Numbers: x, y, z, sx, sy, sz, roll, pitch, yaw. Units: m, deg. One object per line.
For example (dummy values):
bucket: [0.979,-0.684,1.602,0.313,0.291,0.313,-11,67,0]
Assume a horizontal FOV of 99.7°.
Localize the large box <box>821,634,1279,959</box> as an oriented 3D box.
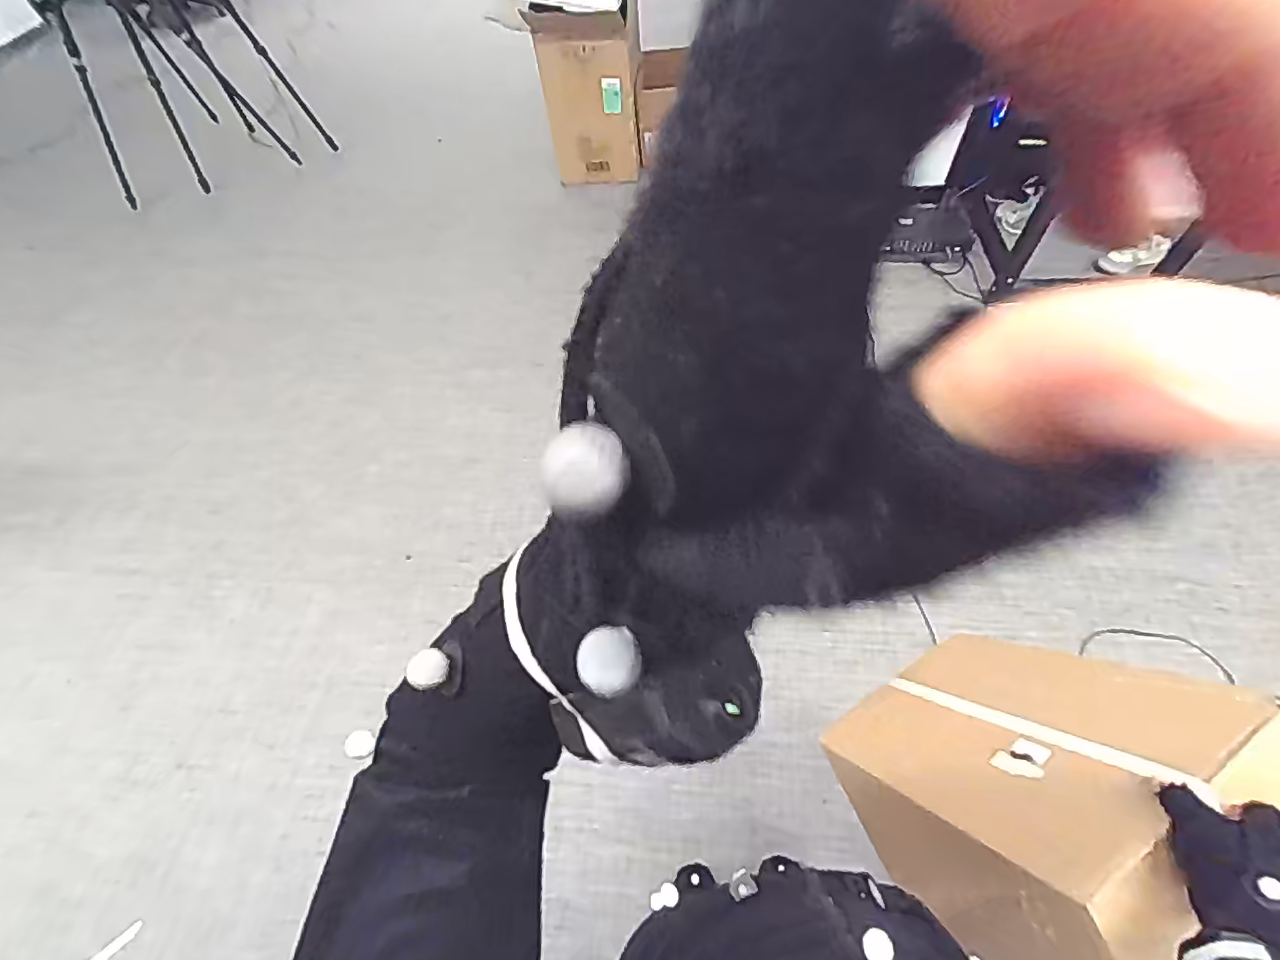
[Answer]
large box: [0.517,0.436,0.679,0.320,0.408,0.320,-28,91,-15]
